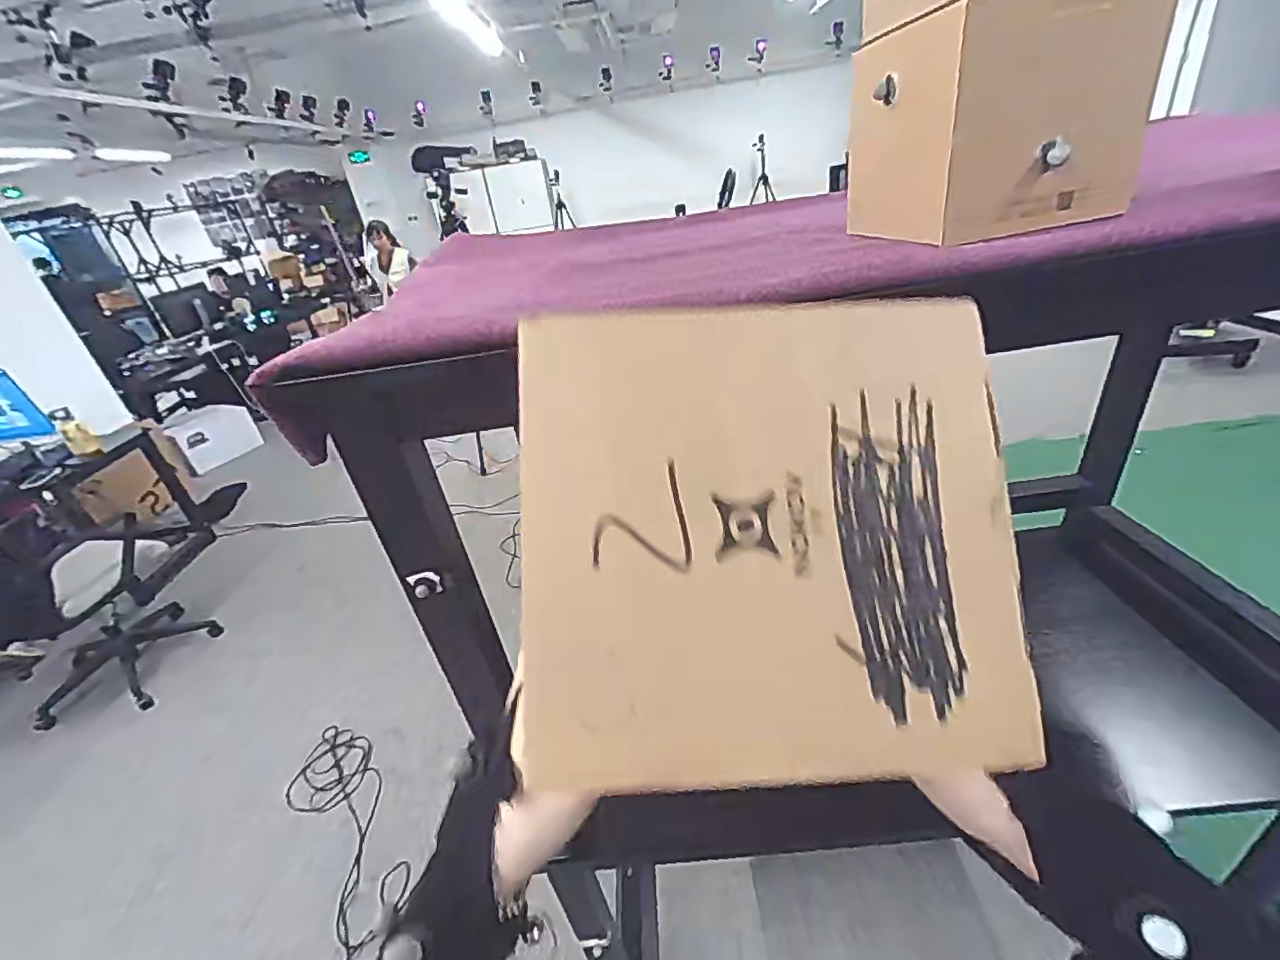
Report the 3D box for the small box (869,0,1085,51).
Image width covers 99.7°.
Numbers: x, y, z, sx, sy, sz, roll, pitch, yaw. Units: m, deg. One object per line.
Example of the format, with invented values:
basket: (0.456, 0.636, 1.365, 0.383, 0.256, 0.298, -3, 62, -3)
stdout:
small box: (0.292, -0.459, 0.413, 0.168, 0.176, 0.179, -8, 30, 2)
